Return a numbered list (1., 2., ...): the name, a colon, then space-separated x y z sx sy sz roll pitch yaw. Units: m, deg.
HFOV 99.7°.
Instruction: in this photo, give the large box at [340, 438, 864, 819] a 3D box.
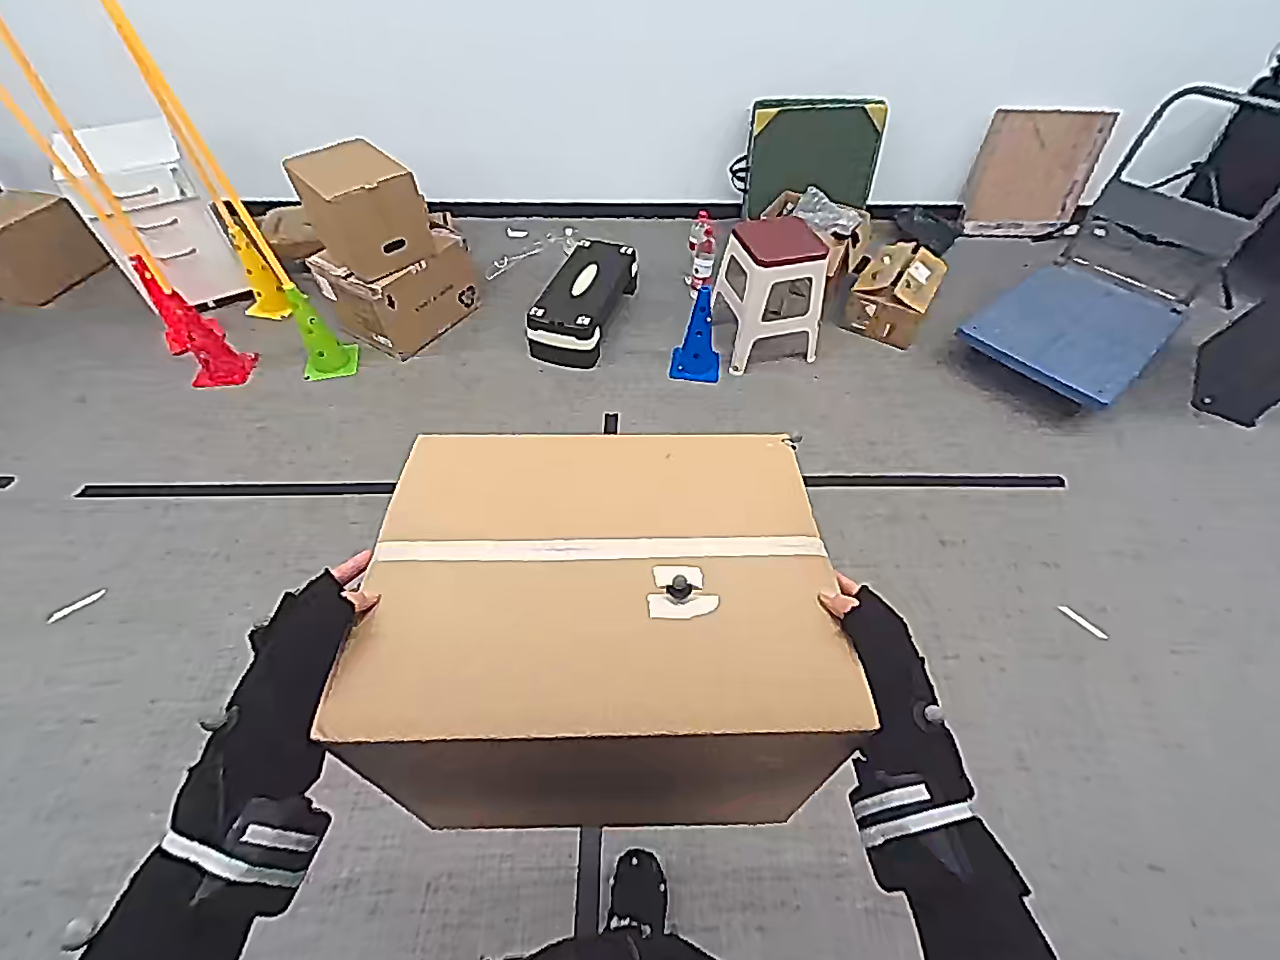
1. large box: -0.035 0.167 0.613 0.408 0.320 0.320 0 47 -2
